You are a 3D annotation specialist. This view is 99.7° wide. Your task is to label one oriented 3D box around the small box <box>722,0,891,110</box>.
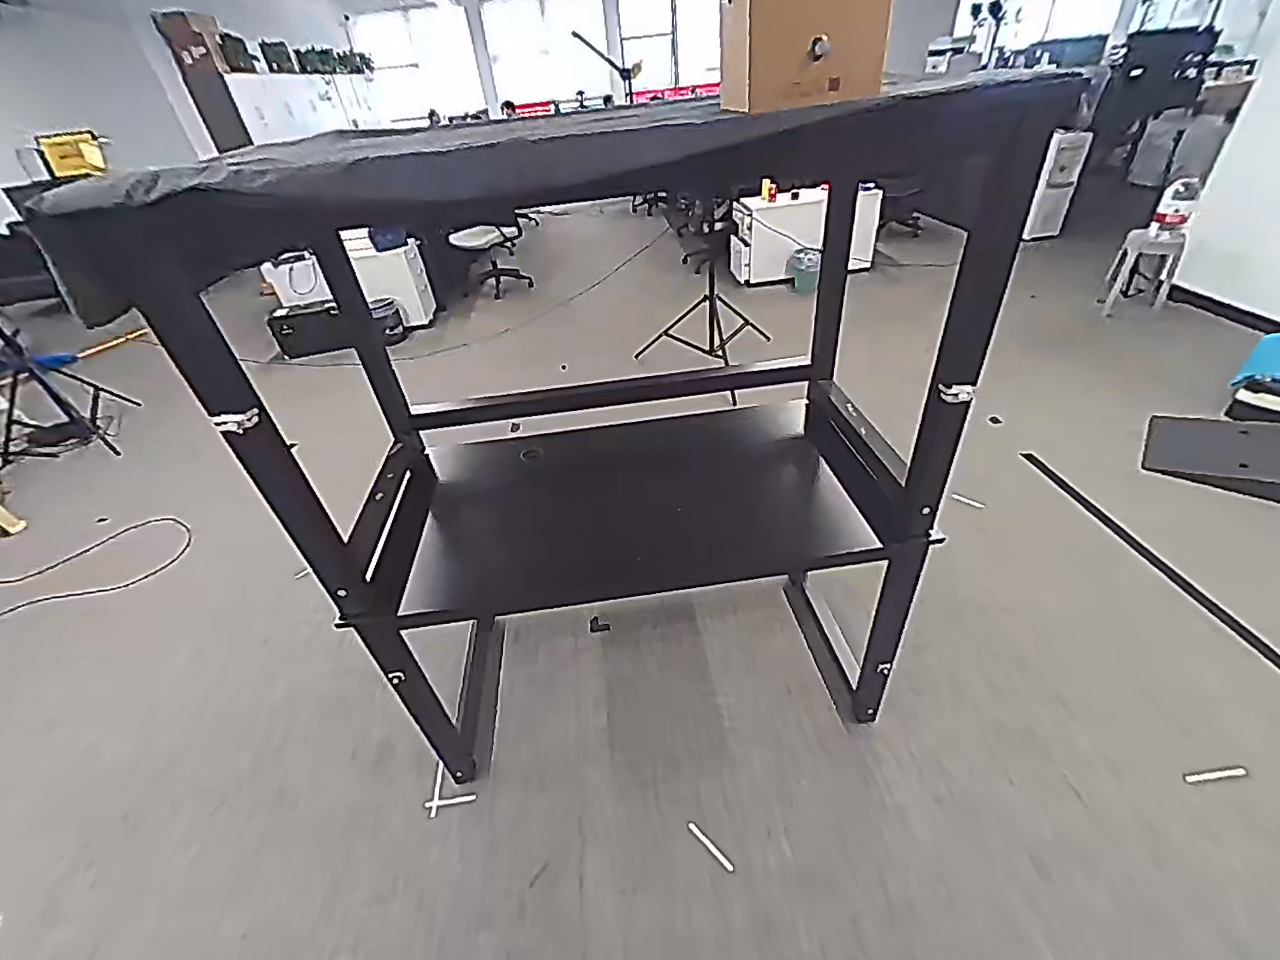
[{"bbox_3d":[0.198,-0.575,0.680,0.168,0.176,0.179,-8,36,0],"label":"small box"}]
